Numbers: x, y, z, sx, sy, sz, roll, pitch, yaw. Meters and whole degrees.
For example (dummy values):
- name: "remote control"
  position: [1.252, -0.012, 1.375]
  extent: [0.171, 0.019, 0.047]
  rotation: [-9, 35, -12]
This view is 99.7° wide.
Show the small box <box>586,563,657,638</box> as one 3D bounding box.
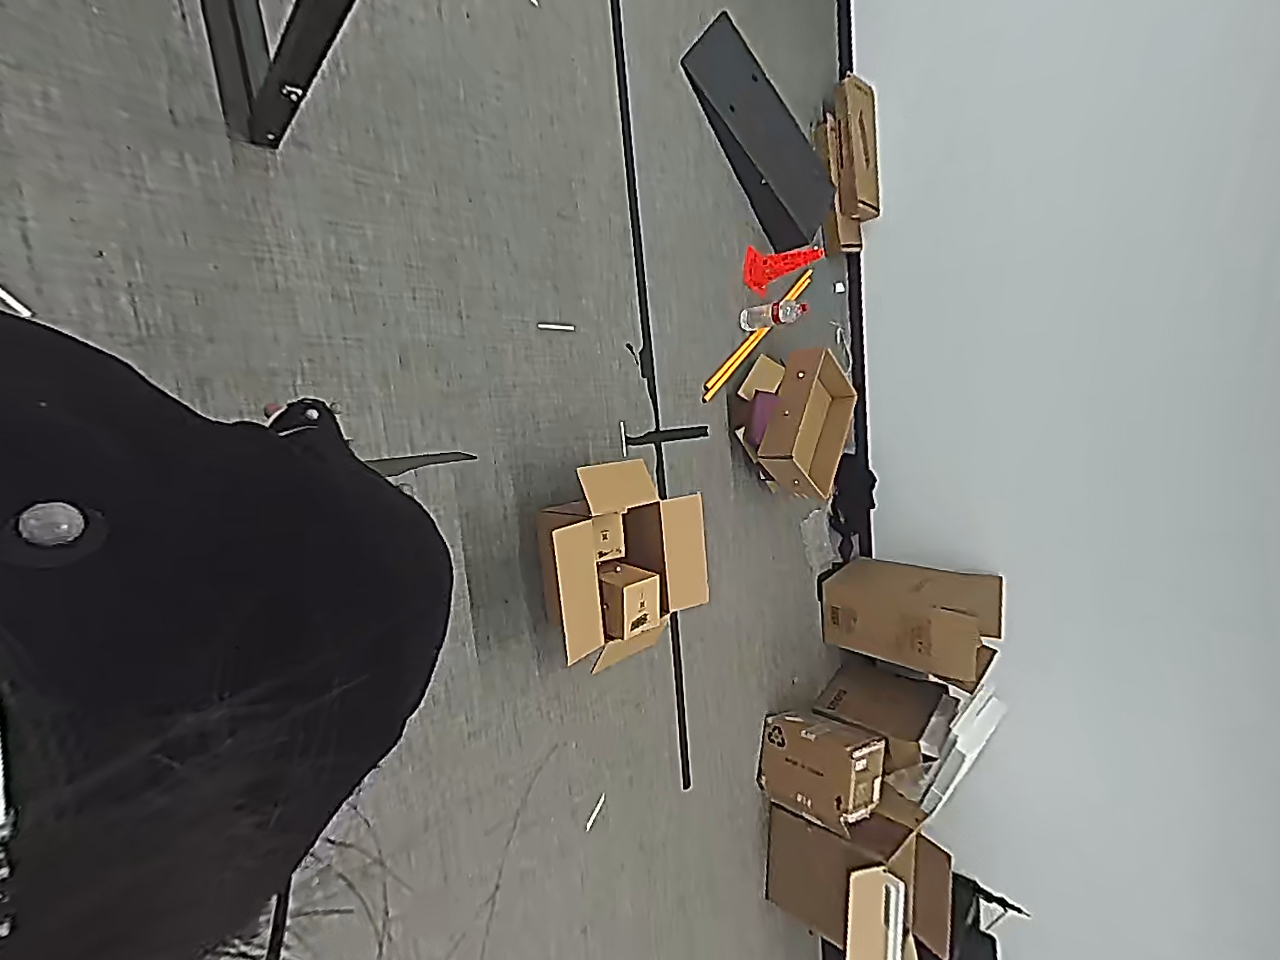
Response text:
- name: "small box"
  position: [-0.062, 0.385, 1.757]
  extent: [0.168, 0.176, 0.179]
  rotation: [-9, 102, -46]
